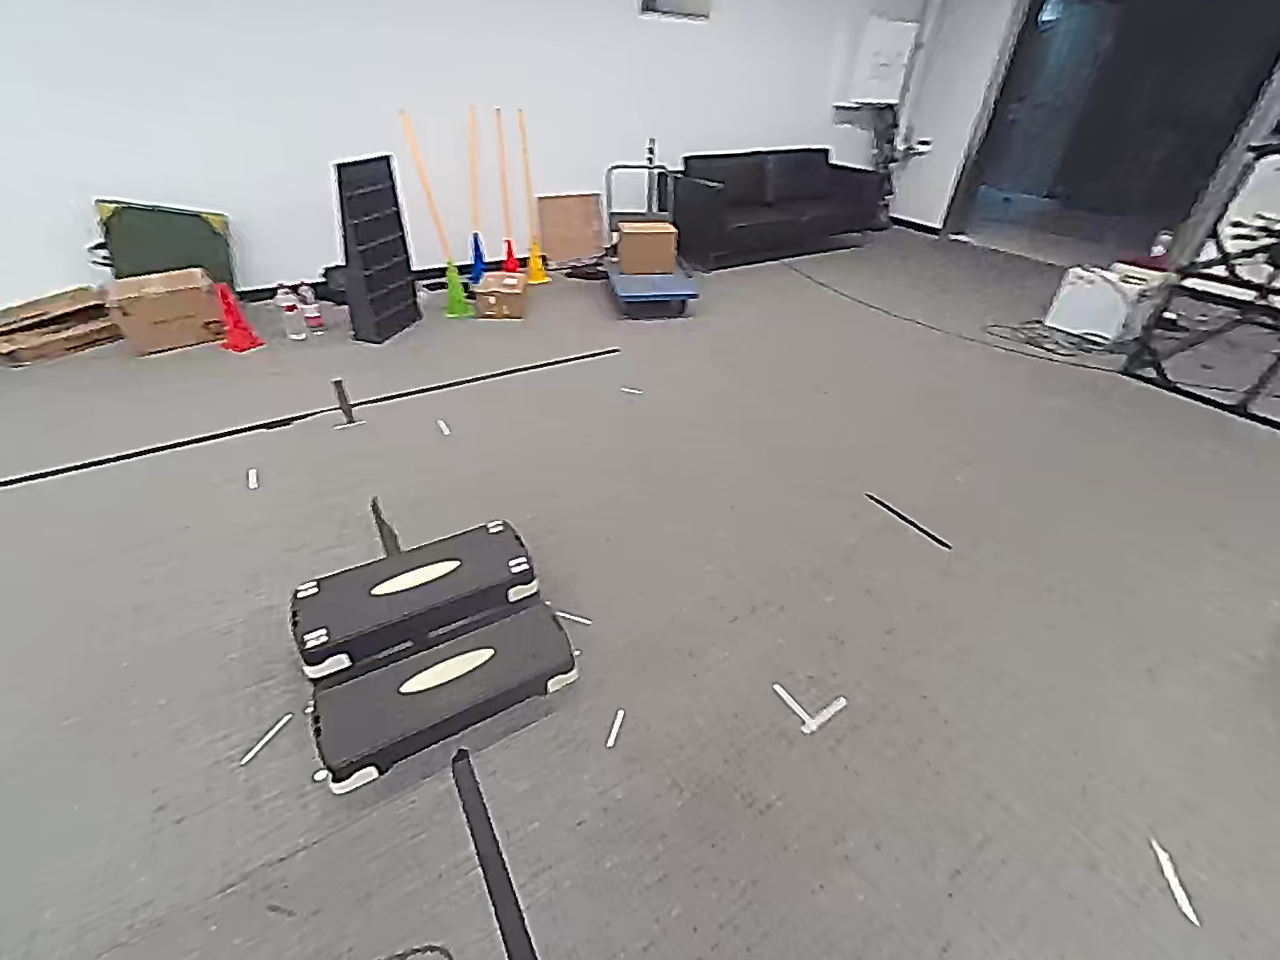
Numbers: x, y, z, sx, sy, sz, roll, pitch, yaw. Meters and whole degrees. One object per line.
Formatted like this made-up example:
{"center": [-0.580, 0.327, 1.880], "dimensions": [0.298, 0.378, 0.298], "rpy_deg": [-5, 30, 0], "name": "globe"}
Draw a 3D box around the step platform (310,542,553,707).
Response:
{"center": [-0.625, 0.420, 1.675], "dimensions": [0.684, 0.204, 0.286], "rpy_deg": [-14, 38, -23], "name": "step platform"}
